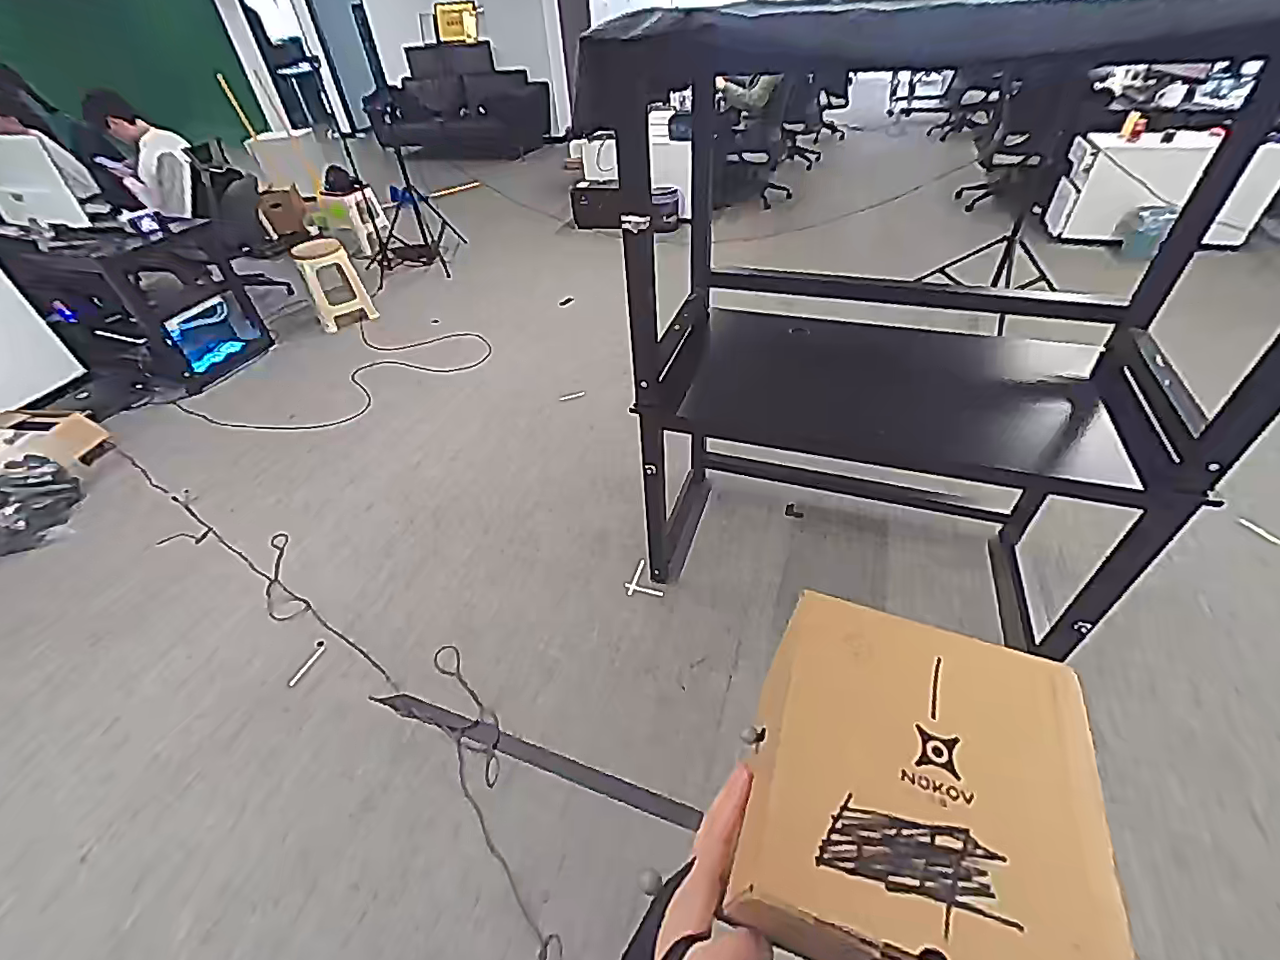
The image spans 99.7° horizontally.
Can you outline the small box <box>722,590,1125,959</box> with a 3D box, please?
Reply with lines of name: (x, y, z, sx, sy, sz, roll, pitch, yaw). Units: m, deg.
small box: (0.155, 0.207, 0.349, 0.168, 0.176, 0.179, 15, 49, 13)
